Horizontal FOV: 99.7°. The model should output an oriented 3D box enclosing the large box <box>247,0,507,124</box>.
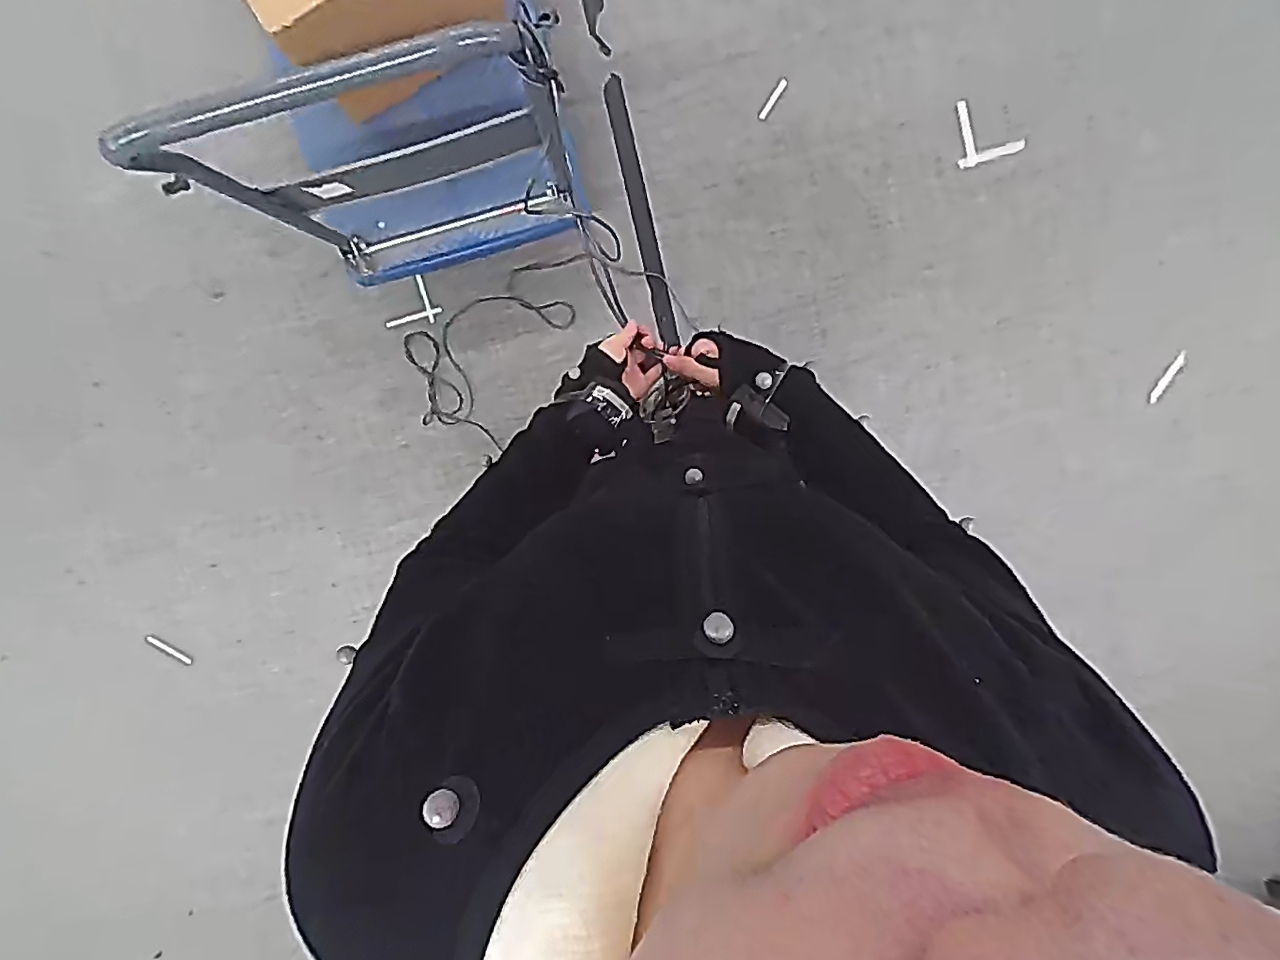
[{"bbox_3d":[-0.523,-0.977,1.005,0.408,0.320,0.320,-30,99,2],"label":"large box"}]
